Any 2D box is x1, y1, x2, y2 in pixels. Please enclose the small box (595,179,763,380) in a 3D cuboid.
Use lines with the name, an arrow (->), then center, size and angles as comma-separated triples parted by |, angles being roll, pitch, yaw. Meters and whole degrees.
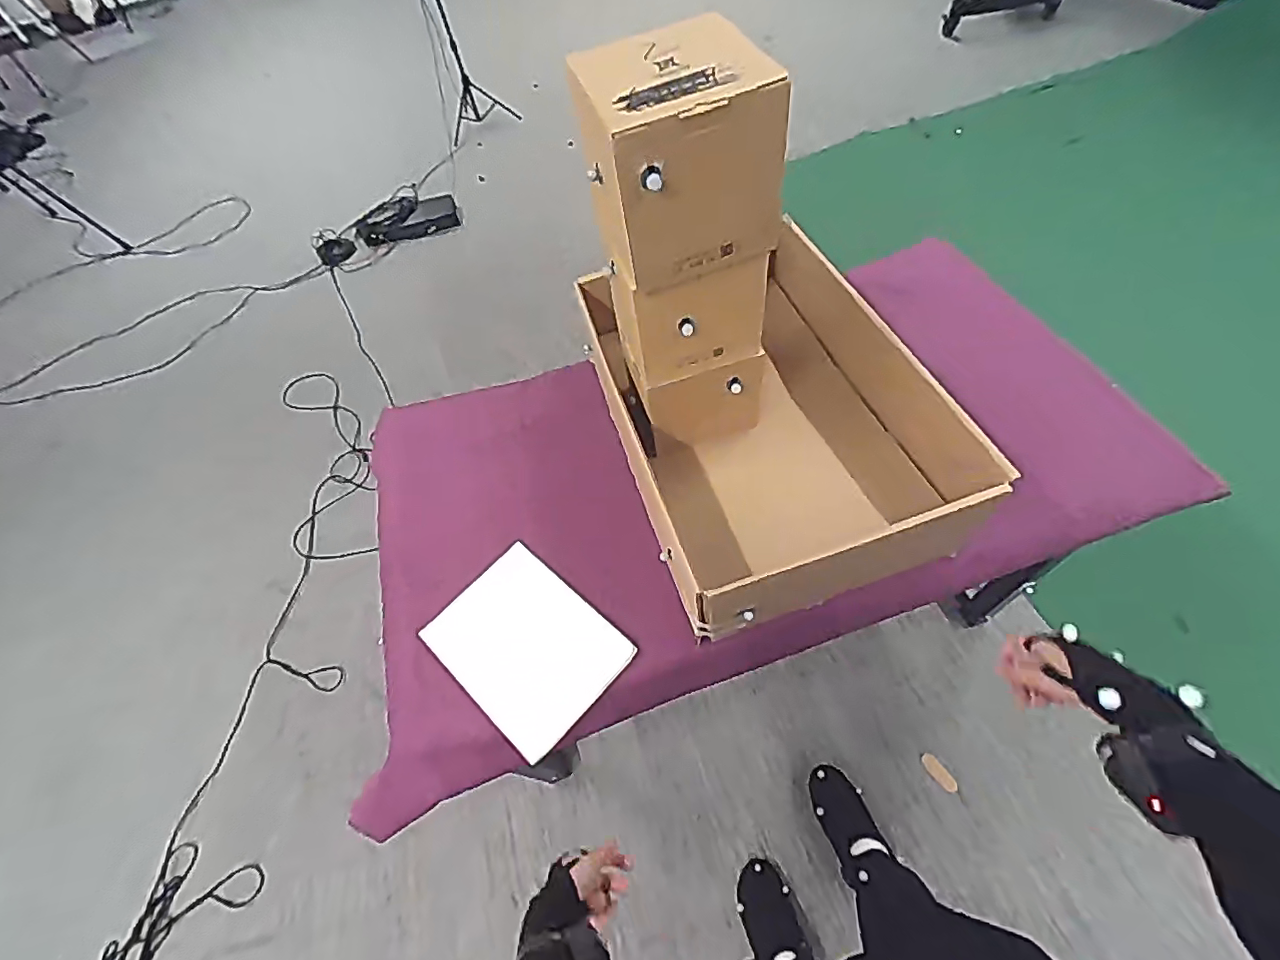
small box -> 0.053, -0.255, 0.717 | 0.168, 0.176, 0.179 | -18, 57, -2
